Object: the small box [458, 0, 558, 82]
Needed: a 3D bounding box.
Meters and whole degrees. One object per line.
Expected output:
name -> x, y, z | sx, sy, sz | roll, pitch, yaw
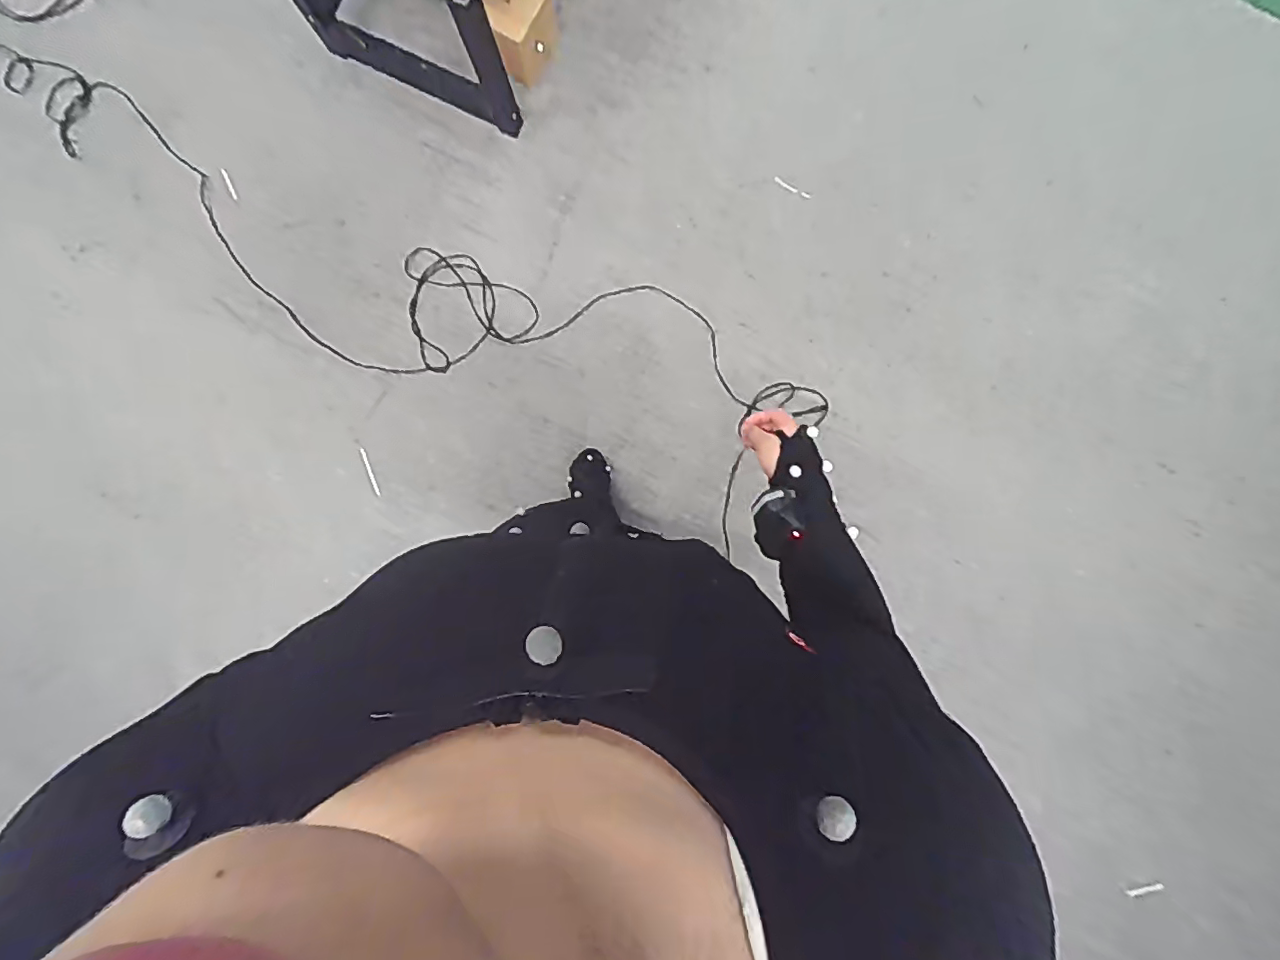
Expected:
small box -> -0.329, -1.183, 1.395 | 0.179, 0.176, 0.168 | 30, 91, 0
